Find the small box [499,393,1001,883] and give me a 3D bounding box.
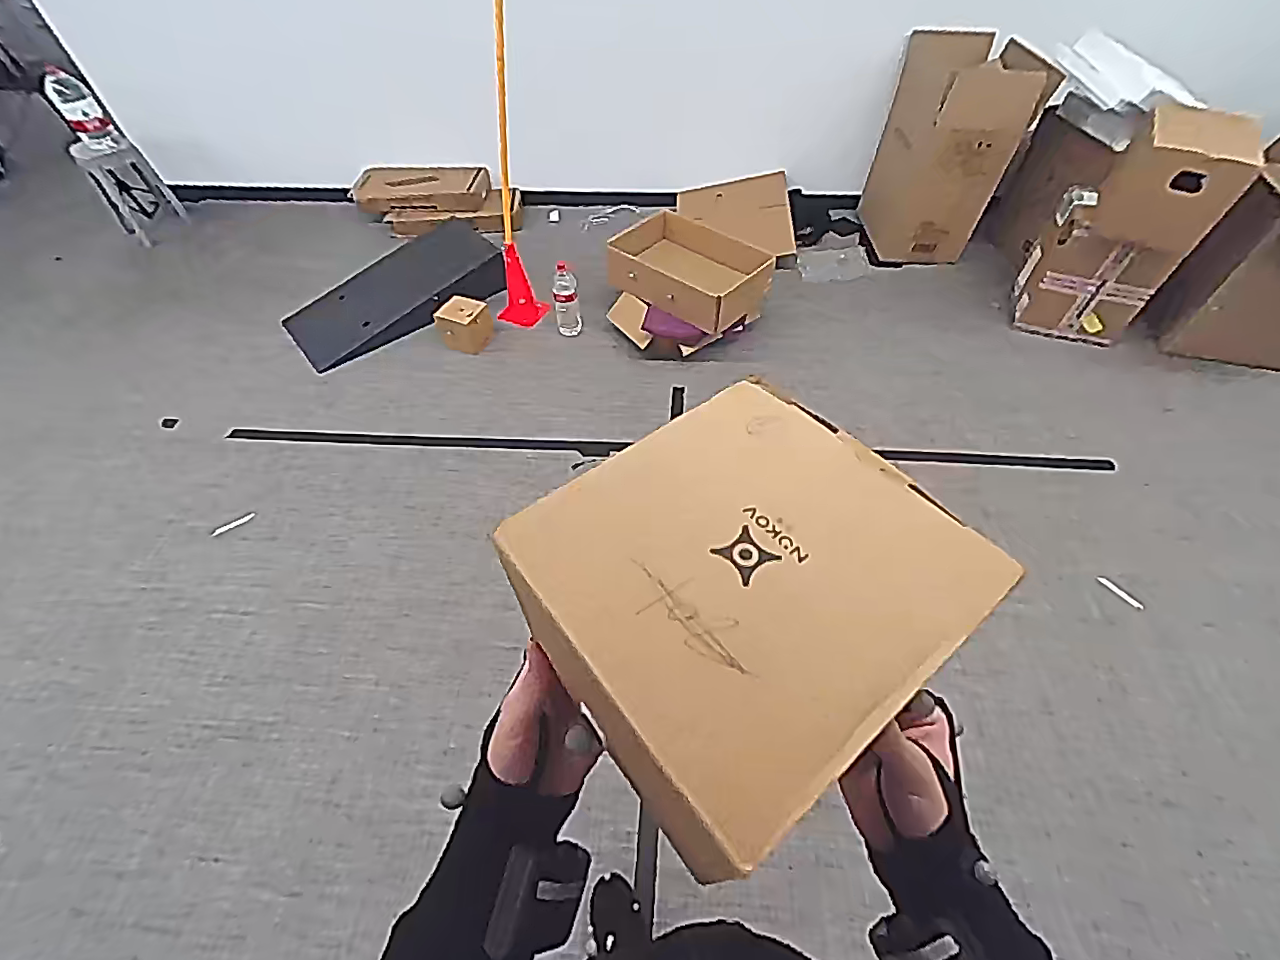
[{"bbox_3d":[0.048,0.089,0.313,0.179,0.176,0.168,-34,59,-21],"label":"small box"}]
